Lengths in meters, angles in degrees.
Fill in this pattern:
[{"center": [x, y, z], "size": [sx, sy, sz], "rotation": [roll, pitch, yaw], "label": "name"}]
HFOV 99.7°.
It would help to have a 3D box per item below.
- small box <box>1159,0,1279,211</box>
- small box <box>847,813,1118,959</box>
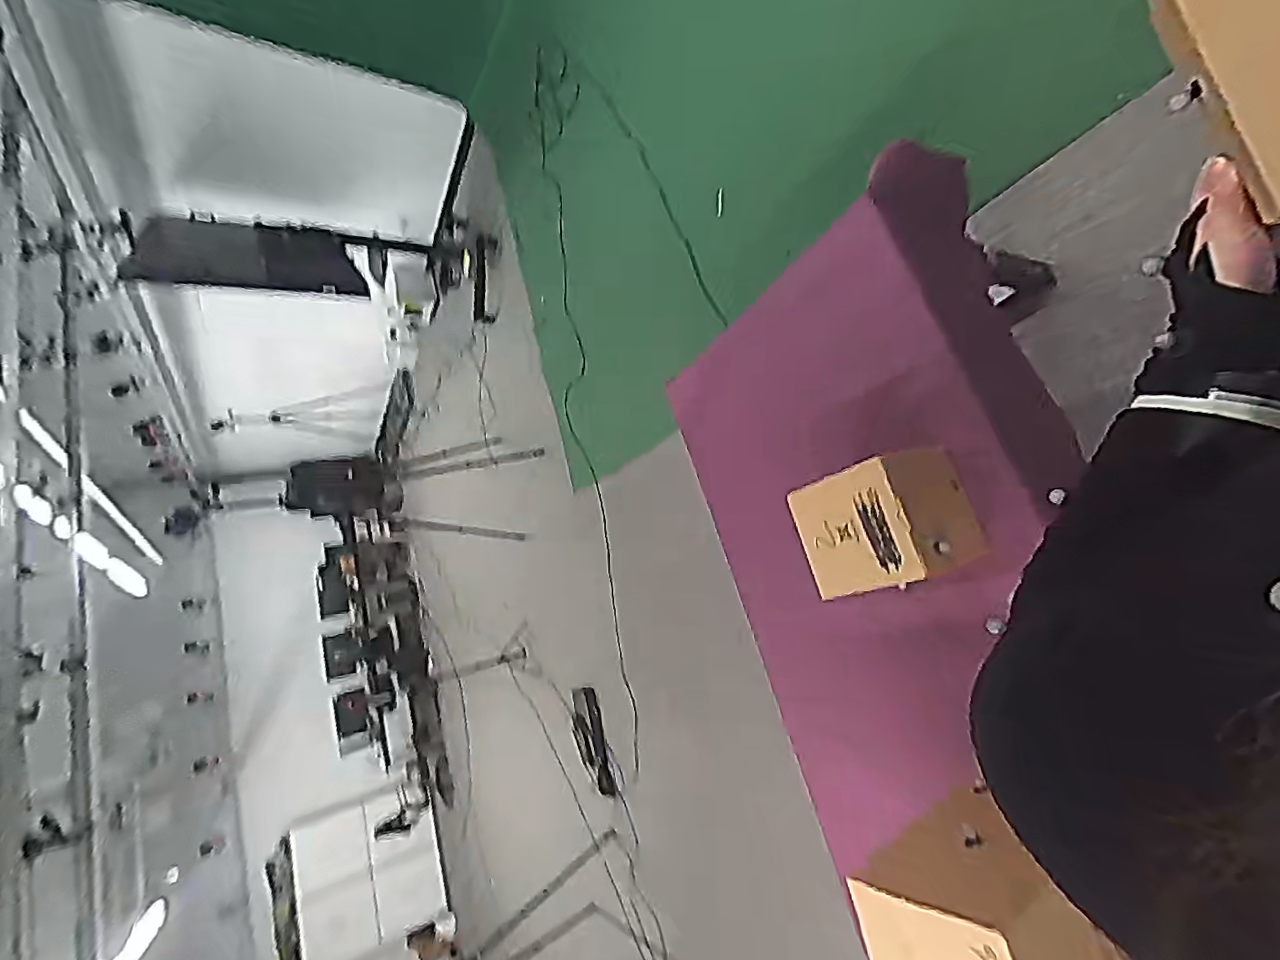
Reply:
[{"center": [0.409, -0.267, 0.282], "size": [0.168, 0.176, 0.179], "rotation": [-25, 88, 47], "label": "small box"}, {"center": [0.366, 0.489, 0.579], "size": [0.179, 0.176, 0.168], "rotation": [-31, 71, 55], "label": "small box"}]
